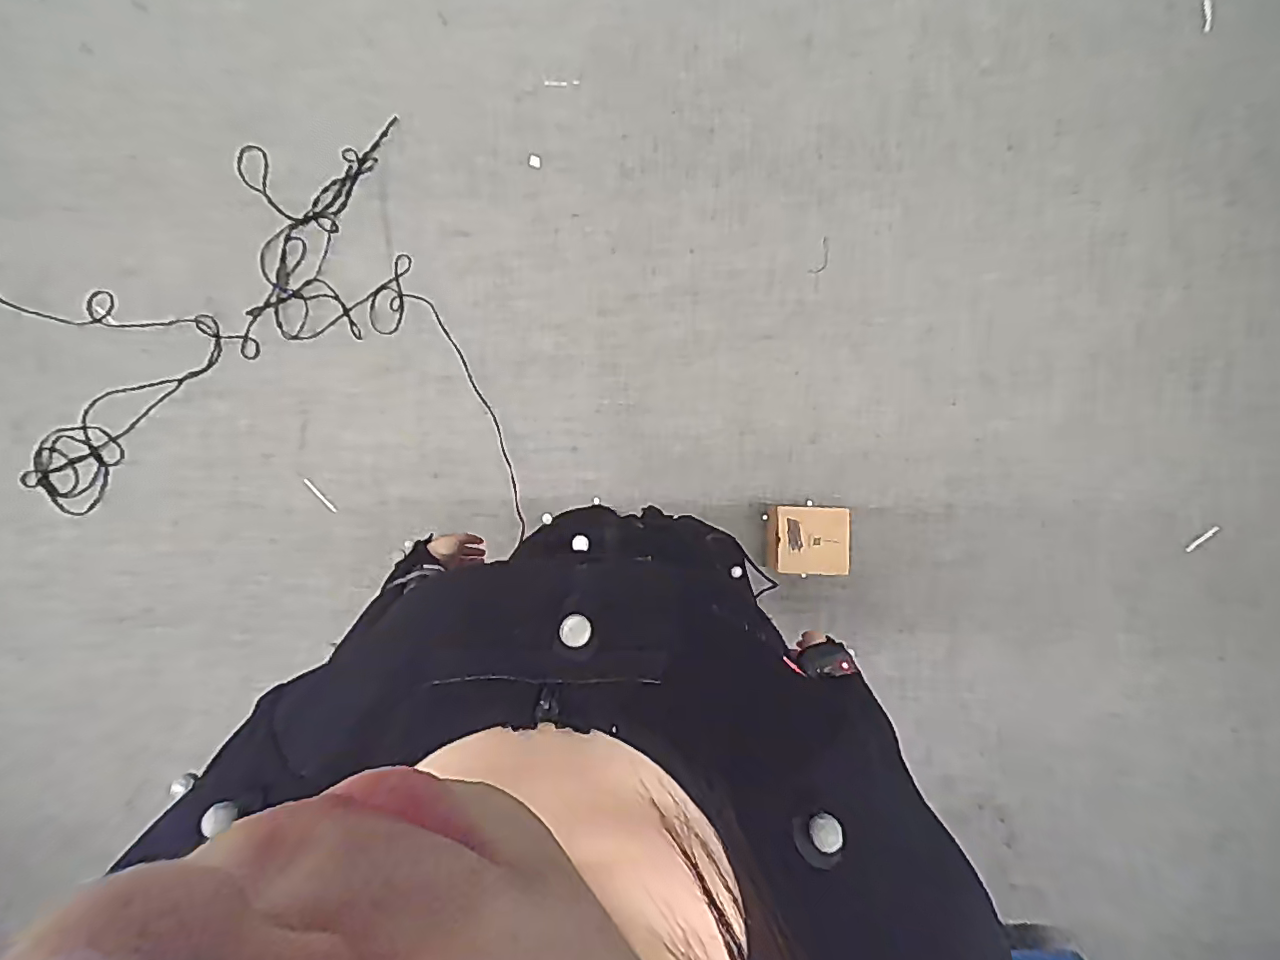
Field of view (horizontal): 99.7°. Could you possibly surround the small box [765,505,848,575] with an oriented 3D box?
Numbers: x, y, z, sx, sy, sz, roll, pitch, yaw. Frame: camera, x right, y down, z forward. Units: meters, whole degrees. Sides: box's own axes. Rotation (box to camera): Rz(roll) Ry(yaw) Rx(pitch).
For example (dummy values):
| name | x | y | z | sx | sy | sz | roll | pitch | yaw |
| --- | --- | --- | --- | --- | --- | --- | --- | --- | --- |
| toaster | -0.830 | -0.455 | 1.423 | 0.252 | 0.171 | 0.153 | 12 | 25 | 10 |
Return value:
| name | x | y | z | sx | sy | sz | roll | pitch | yaw |
| --- | --- | --- | --- | --- | --- | --- | --- | --- | --- |
| small box | 0.424 | 0.150 | 1.401 | 0.179 | 0.176 | 0.168 | 2 | 89 | 3 |
